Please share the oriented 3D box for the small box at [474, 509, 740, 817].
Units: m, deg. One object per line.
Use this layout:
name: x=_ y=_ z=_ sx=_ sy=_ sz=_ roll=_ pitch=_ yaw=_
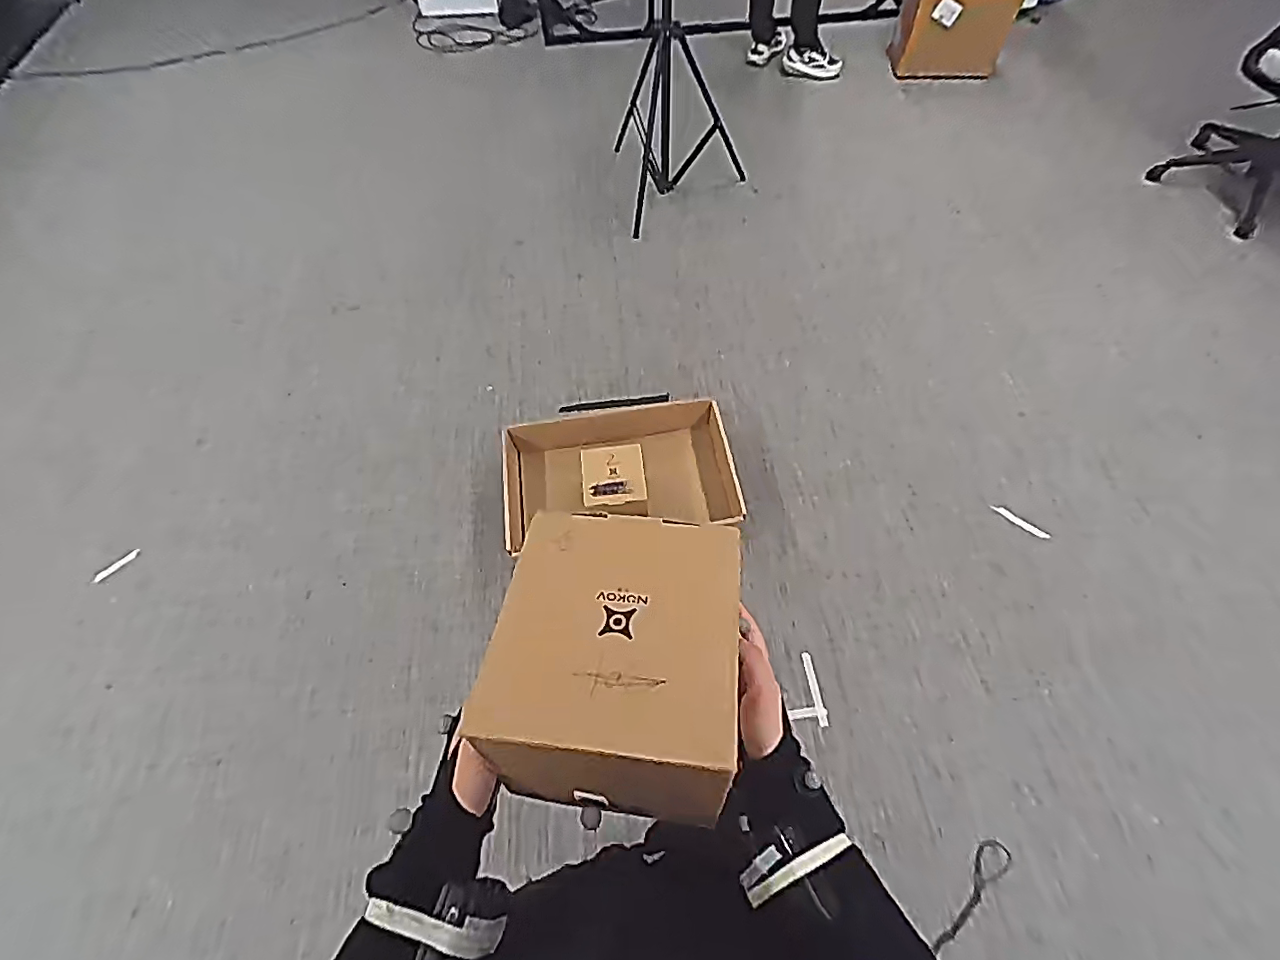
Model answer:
small box: x=-0.011 y=0.147 z=0.437 sx=0.168 sy=0.176 sz=0.179 roll=4 pitch=49 yaw=6
